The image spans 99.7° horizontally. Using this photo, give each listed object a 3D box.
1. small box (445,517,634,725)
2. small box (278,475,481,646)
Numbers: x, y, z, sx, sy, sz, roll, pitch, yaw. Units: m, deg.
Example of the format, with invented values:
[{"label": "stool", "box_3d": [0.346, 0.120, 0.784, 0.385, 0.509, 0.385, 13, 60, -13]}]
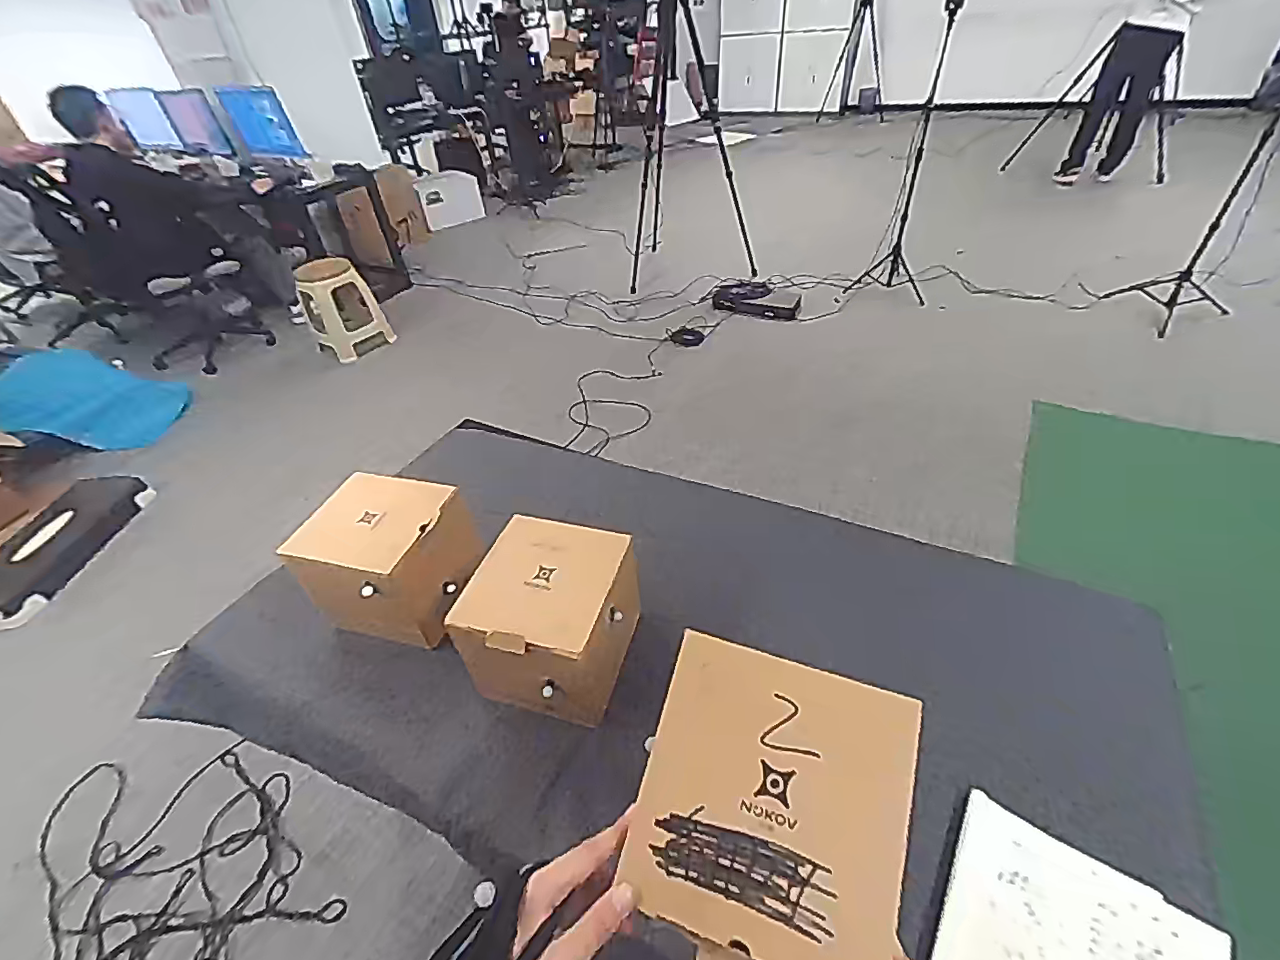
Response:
[{"label": "small box", "box_3d": [-0.109, 0.177, 0.682, 0.168, 0.176, 0.179, 9, 41, 14]}, {"label": "small box", "box_3d": [-0.357, 0.116, 0.779, 0.179, 0.176, 0.168, 8, 42, 13]}]
